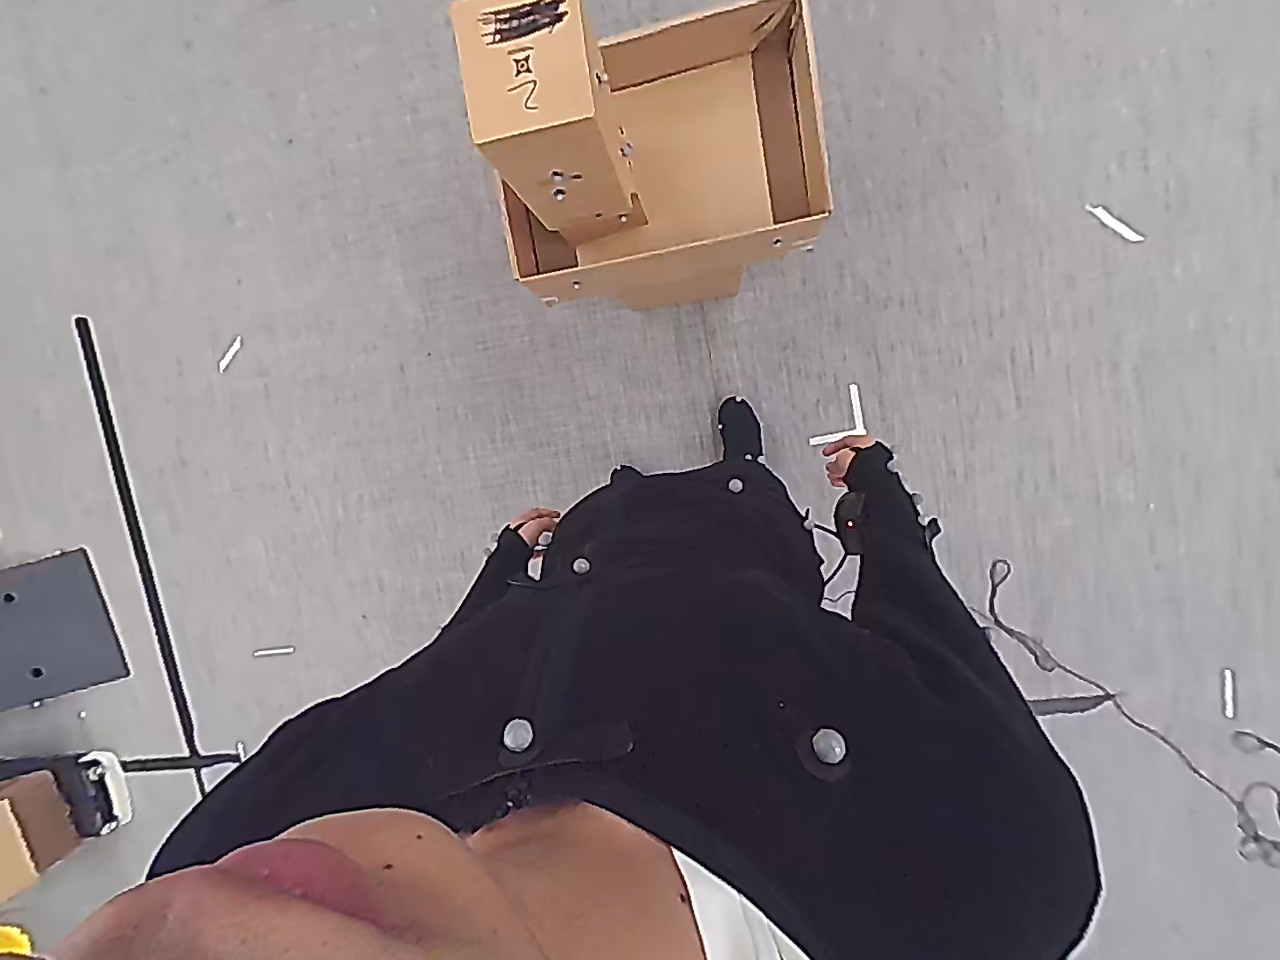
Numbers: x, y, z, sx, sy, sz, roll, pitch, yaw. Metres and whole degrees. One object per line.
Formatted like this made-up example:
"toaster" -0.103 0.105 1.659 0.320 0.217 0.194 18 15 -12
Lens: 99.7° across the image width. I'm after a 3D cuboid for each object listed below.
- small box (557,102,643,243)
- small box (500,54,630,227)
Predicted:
"small box" -0.098 -0.599 1.076 0.179 0.176 0.168 -14 94 10
"small box" -0.118 -0.561 0.918 0.168 0.176 0.179 -8 95 9
